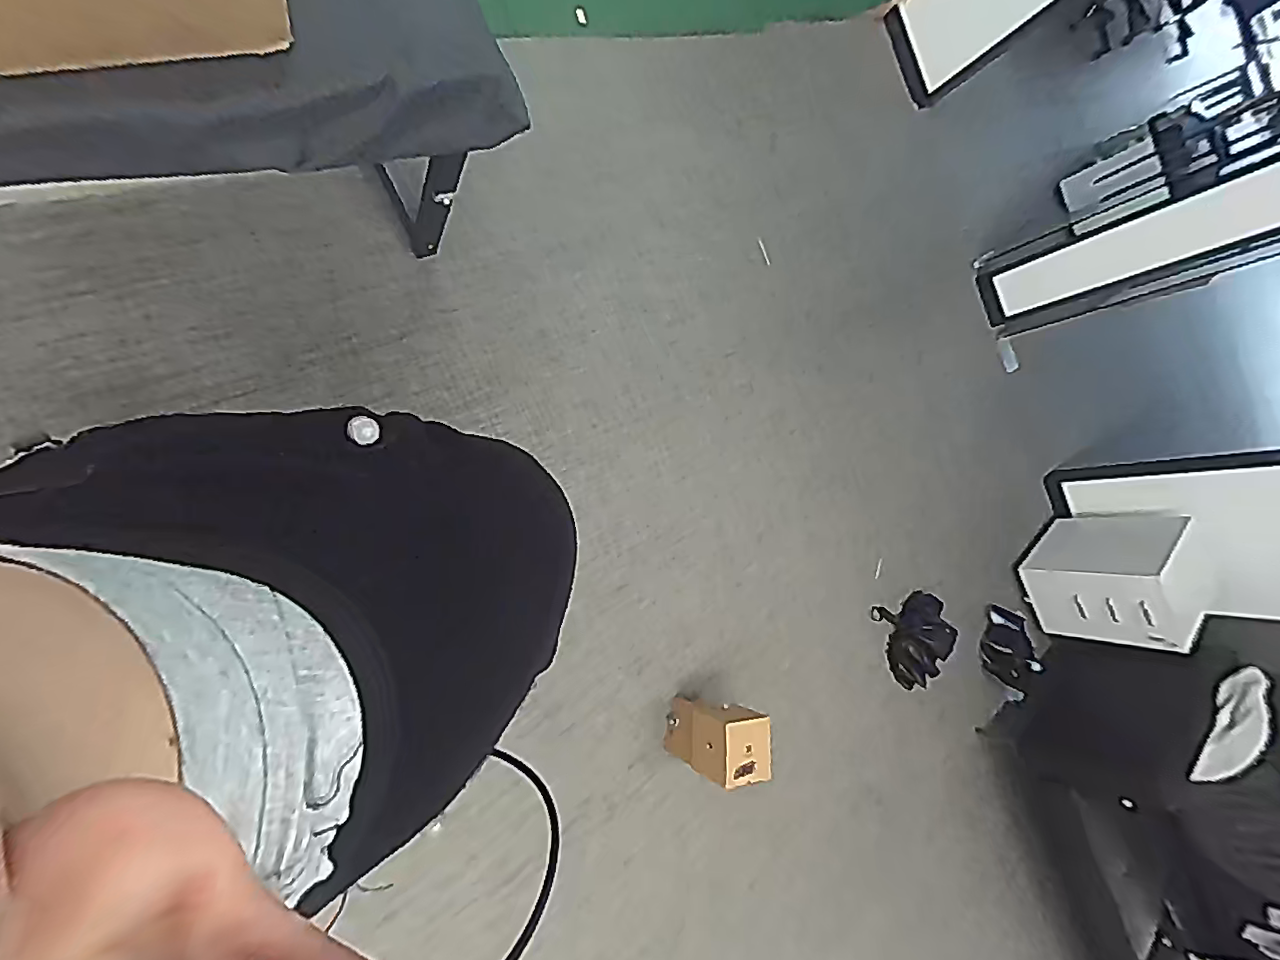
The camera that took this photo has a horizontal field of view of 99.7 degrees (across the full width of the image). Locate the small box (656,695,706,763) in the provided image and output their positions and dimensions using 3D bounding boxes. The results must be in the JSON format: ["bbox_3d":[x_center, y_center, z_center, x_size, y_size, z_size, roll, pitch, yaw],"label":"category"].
[{"bbox_3d":[0.178,0.812,1.758,0.179,0.176,0.168,20,75,-25],"label":"small box"}]

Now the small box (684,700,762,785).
[{"bbox_3d":[0.244,0.774,1.610,0.168,0.176,0.179,6,80,-30],"label":"small box"}]
